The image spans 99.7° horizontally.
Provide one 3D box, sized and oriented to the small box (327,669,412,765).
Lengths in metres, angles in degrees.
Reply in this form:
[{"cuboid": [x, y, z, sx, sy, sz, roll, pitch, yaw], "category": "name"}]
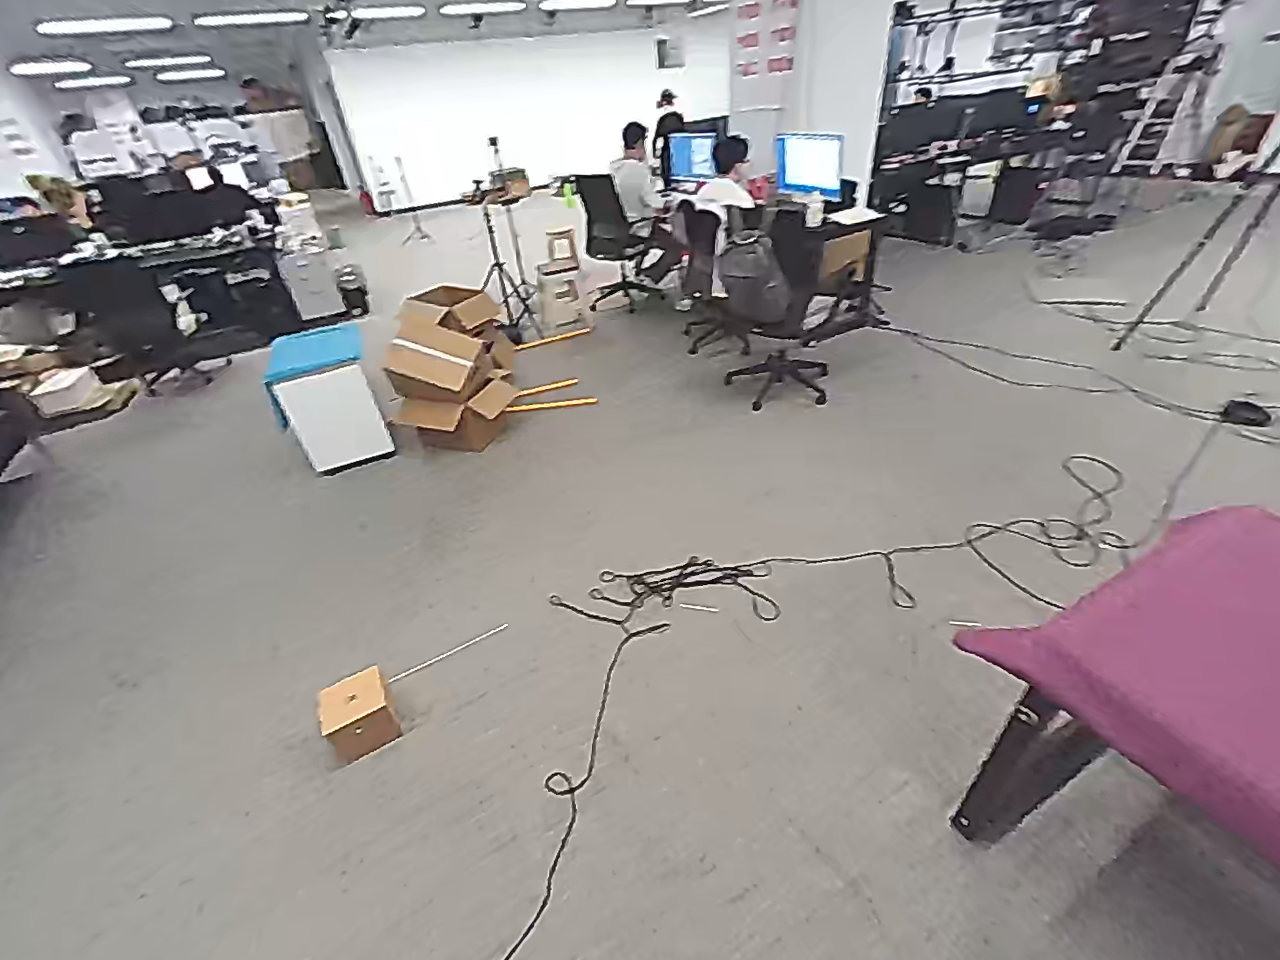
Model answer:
[{"cuboid": [-0.822, 0.724, 1.646, 0.179, 0.176, 0.168, -23, 38, -20], "category": "small box"}]
